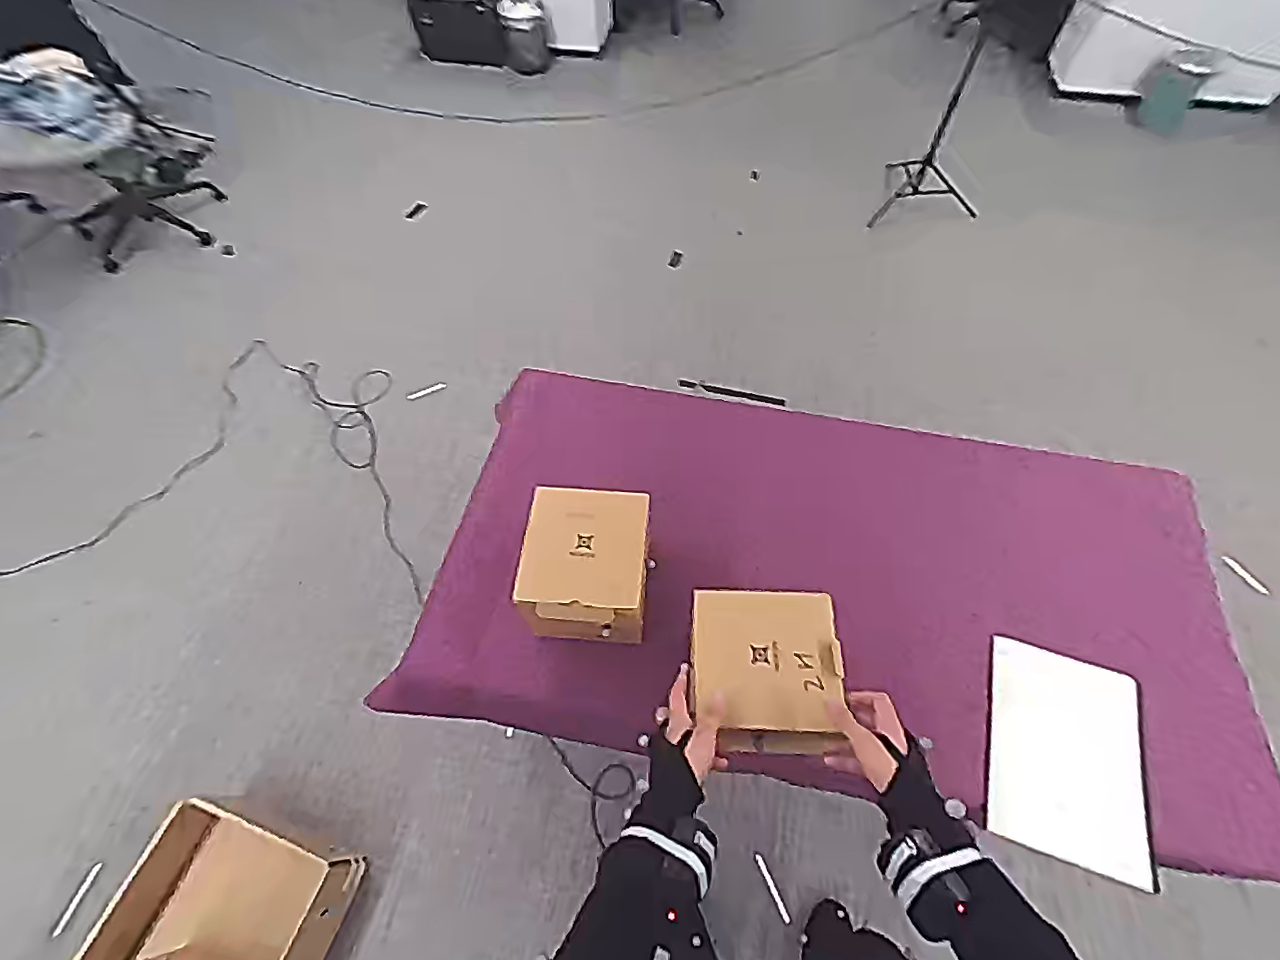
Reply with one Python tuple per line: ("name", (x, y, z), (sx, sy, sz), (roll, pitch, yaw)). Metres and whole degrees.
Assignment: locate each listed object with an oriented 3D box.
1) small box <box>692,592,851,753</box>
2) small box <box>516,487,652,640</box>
("small box", (0.158, 0.259, 0.714), (0.179, 0.176, 0.168), (1, 57, 4))
("small box", (-0.071, 0.130, 0.805), (0.168, 0.176, 0.179), (4, 59, 3))
